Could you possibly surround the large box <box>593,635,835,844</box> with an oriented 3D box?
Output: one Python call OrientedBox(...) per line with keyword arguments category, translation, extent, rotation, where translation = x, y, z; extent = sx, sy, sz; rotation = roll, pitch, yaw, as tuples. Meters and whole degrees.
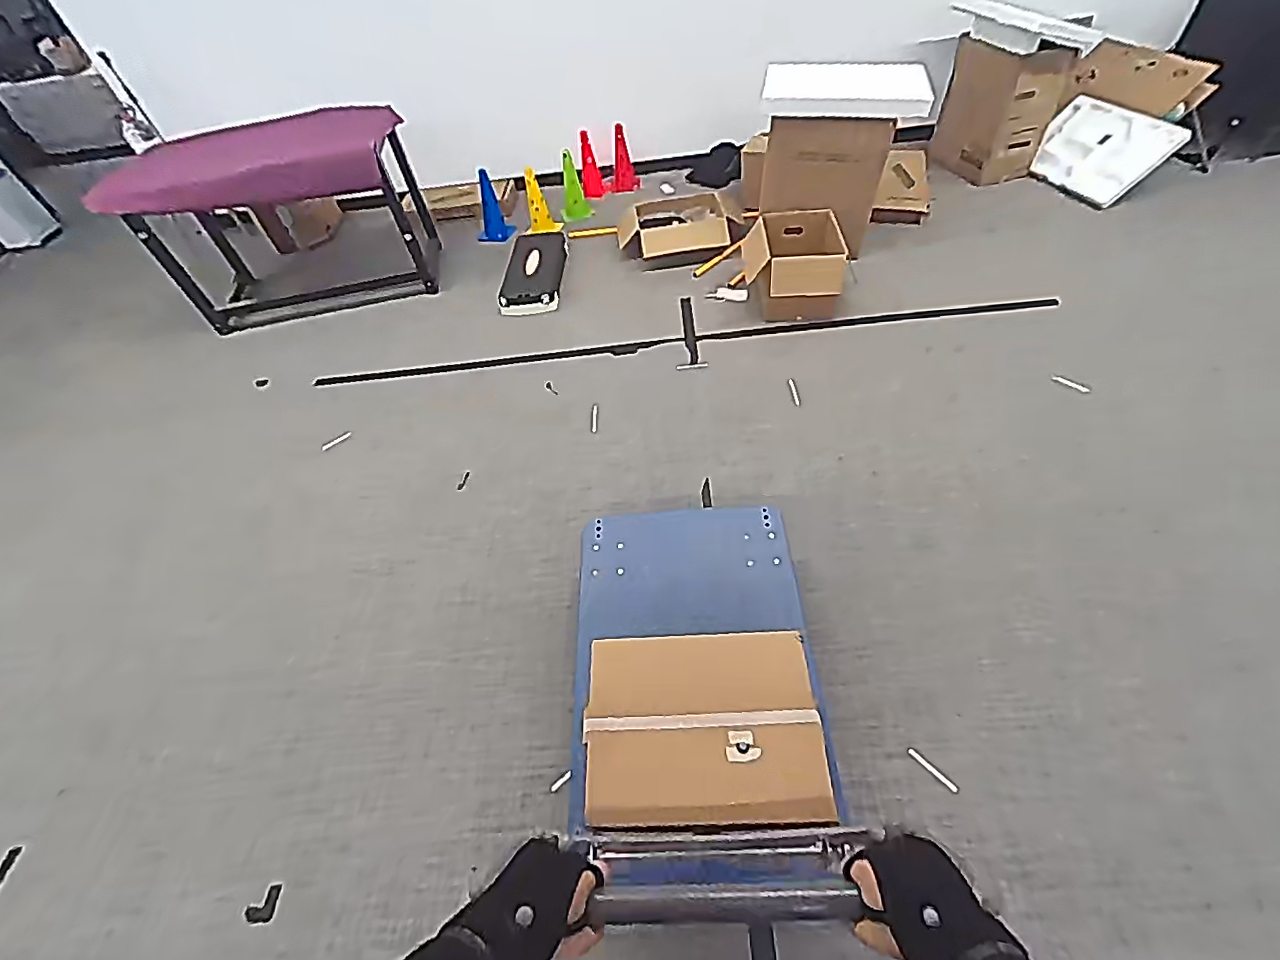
OrientedBox(category="large box", translation=(0.124, 0.526, 1.084), extent=(0.408, 0.320, 0.320), rotation=(-4, 54, 3))
